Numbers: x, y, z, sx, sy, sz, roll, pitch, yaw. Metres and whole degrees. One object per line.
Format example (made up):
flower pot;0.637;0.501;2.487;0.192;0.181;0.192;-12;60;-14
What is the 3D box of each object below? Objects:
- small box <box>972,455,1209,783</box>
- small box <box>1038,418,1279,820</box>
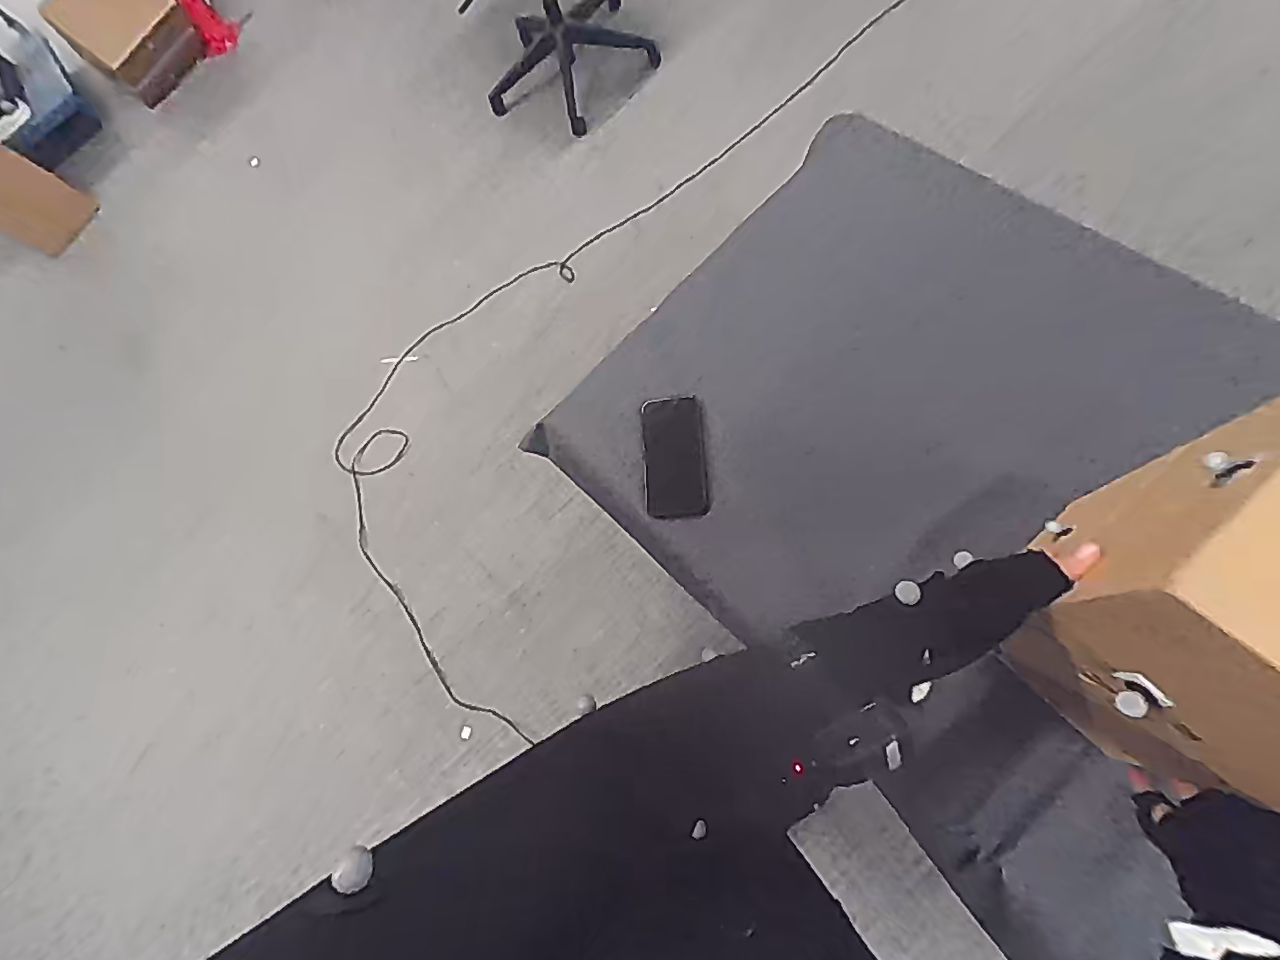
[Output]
small box;0.410;0.117;0.441;0.179;0.176;0.168;-42;67;-3
small box;0.369;0.072;0.290;0.179;0.176;0.168;-44;66;-2
